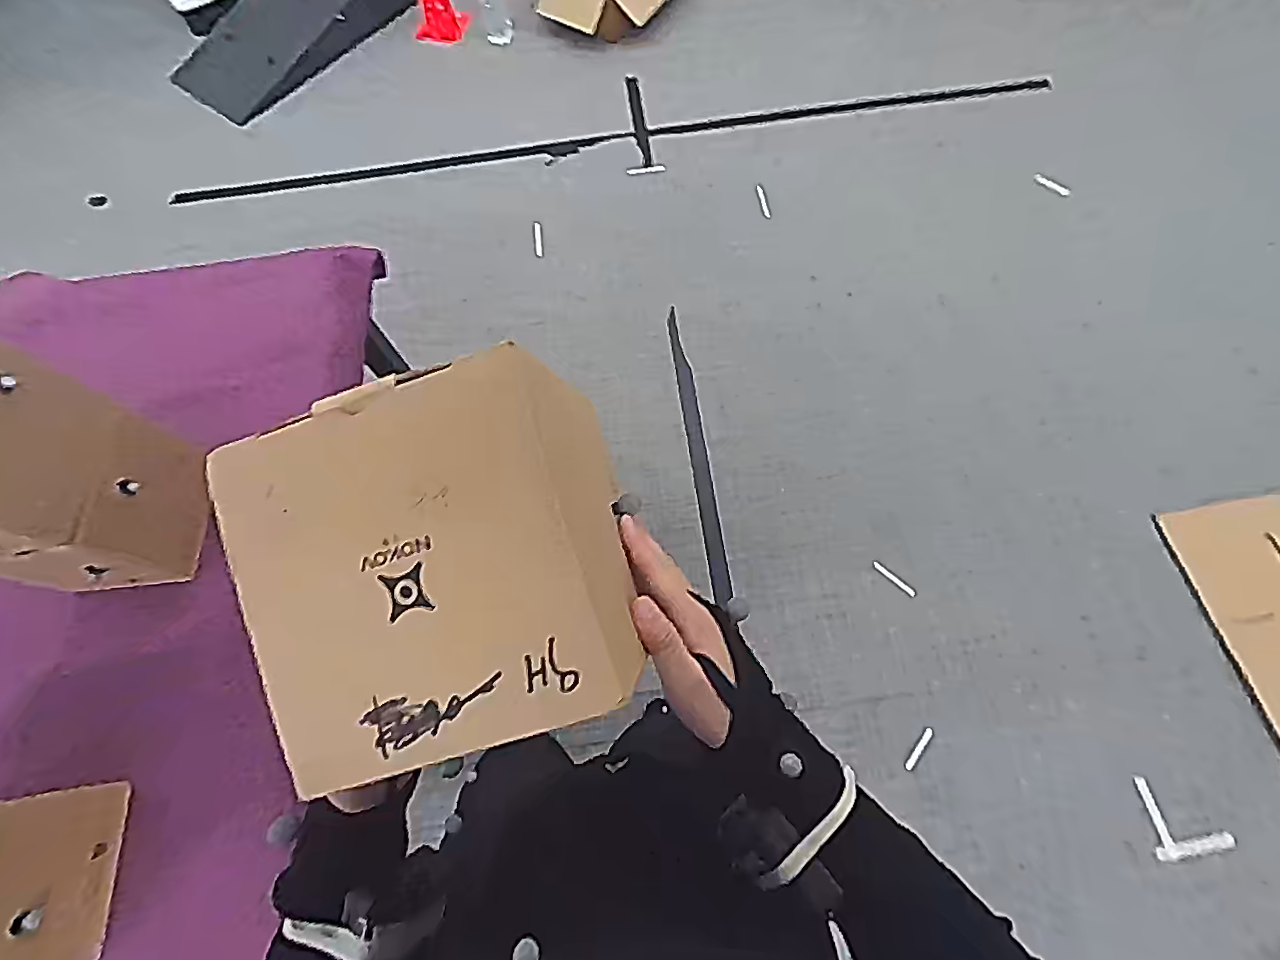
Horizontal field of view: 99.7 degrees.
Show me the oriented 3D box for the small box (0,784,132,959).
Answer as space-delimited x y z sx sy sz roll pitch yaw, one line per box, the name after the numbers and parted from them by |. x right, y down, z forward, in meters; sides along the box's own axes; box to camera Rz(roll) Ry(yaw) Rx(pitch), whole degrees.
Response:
-0.652 0.405 0.517 0.179 0.176 0.168 -10 68 -1 | small box

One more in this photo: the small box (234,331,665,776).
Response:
-0.091 0.039 0.333 0.168 0.176 0.179 -18 85 7 | small box

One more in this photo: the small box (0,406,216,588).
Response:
-0.674 0.032 0.668 0.168 0.176 0.179 -6 67 -1 | small box
